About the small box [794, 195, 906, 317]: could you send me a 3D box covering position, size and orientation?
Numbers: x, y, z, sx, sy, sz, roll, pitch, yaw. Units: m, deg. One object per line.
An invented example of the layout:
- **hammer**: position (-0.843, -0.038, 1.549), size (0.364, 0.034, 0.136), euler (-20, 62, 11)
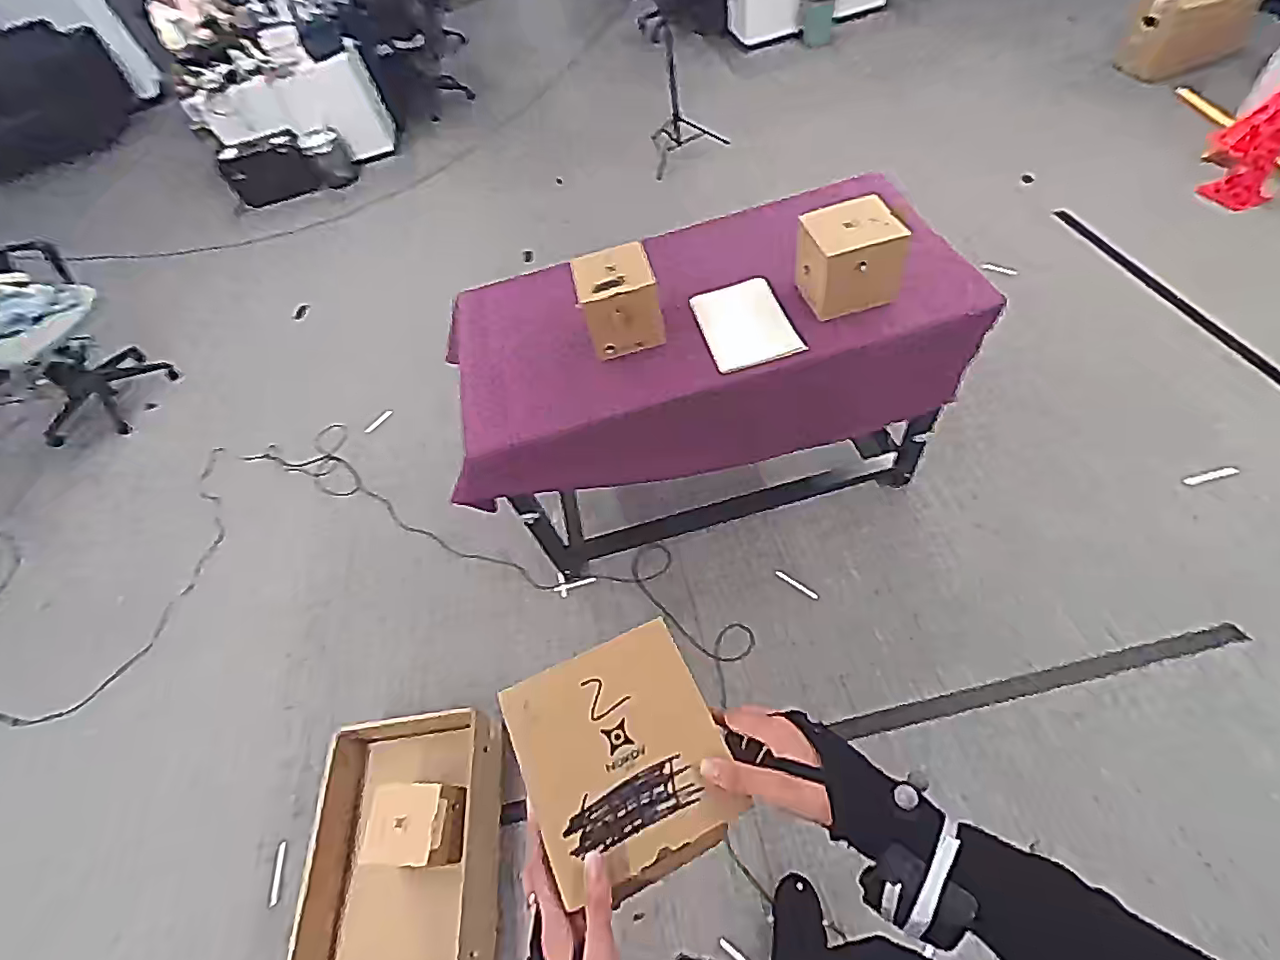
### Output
- **small box**: position (0.448, -0.485, 1.186), size (0.179, 0.176, 0.168), euler (-15, 55, 2)

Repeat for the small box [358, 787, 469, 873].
- **small box**: position (-0.543, 0.855, 1.326), size (0.179, 0.176, 0.168), euler (-4, 56, 9)

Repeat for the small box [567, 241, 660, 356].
- **small box**: position (-0.057, -0.407, 1.242), size (0.168, 0.176, 0.179), euler (-15, 54, 1)
